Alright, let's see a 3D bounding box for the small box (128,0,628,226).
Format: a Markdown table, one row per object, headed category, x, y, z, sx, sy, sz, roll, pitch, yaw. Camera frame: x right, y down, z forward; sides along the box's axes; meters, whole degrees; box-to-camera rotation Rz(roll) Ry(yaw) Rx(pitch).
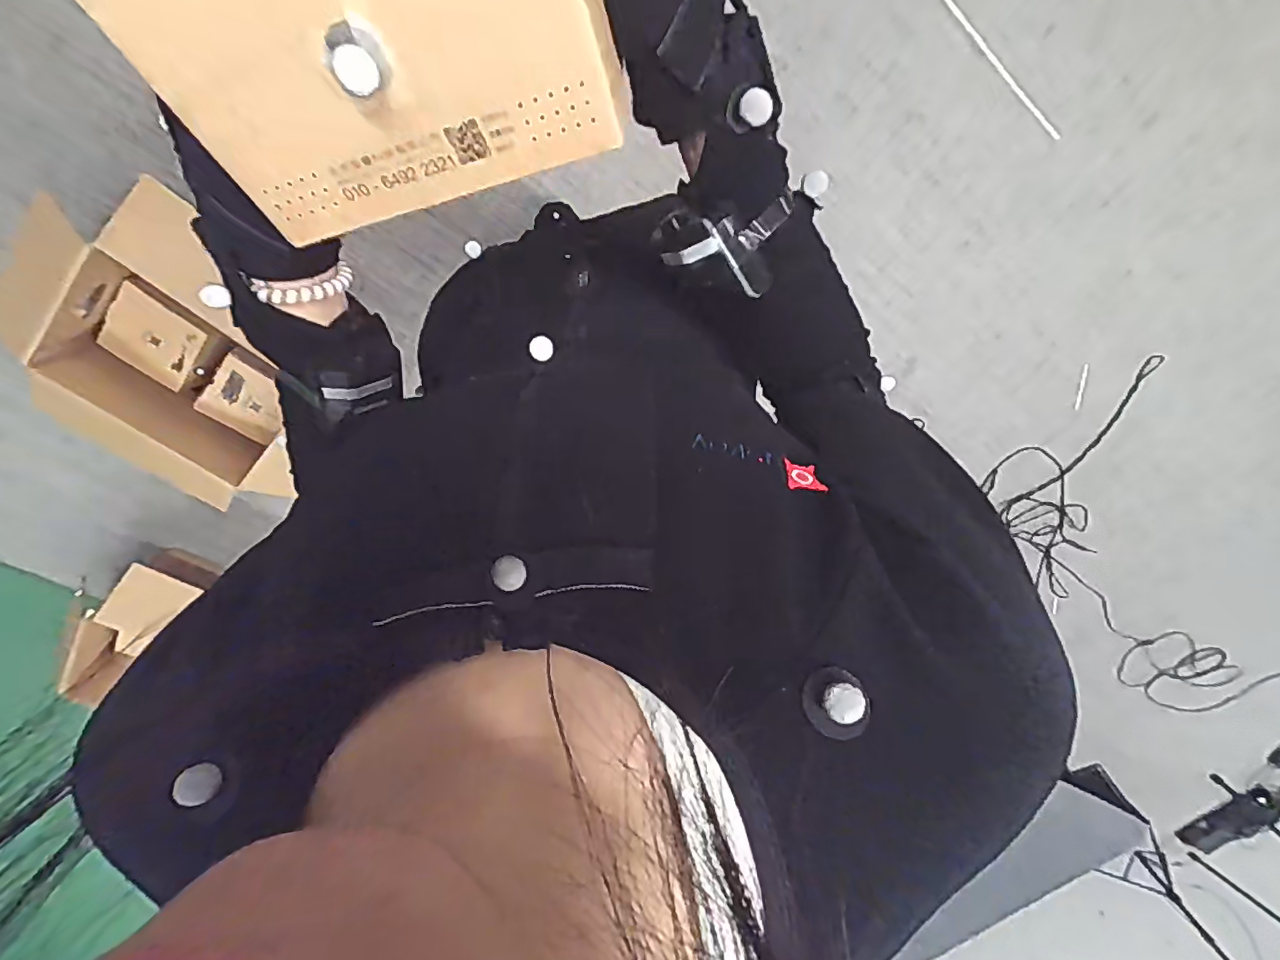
| category | x | y | z | sx | sy | sz | roll | pitch | yaw |
| --- | --- | --- | --- | --- | --- | --- | --- | --- | --- |
| small box | -0.106 | -0.241 | 0.220 | 0.168 | 0.179 | 0.176 | -10 | 146 | 12 |
